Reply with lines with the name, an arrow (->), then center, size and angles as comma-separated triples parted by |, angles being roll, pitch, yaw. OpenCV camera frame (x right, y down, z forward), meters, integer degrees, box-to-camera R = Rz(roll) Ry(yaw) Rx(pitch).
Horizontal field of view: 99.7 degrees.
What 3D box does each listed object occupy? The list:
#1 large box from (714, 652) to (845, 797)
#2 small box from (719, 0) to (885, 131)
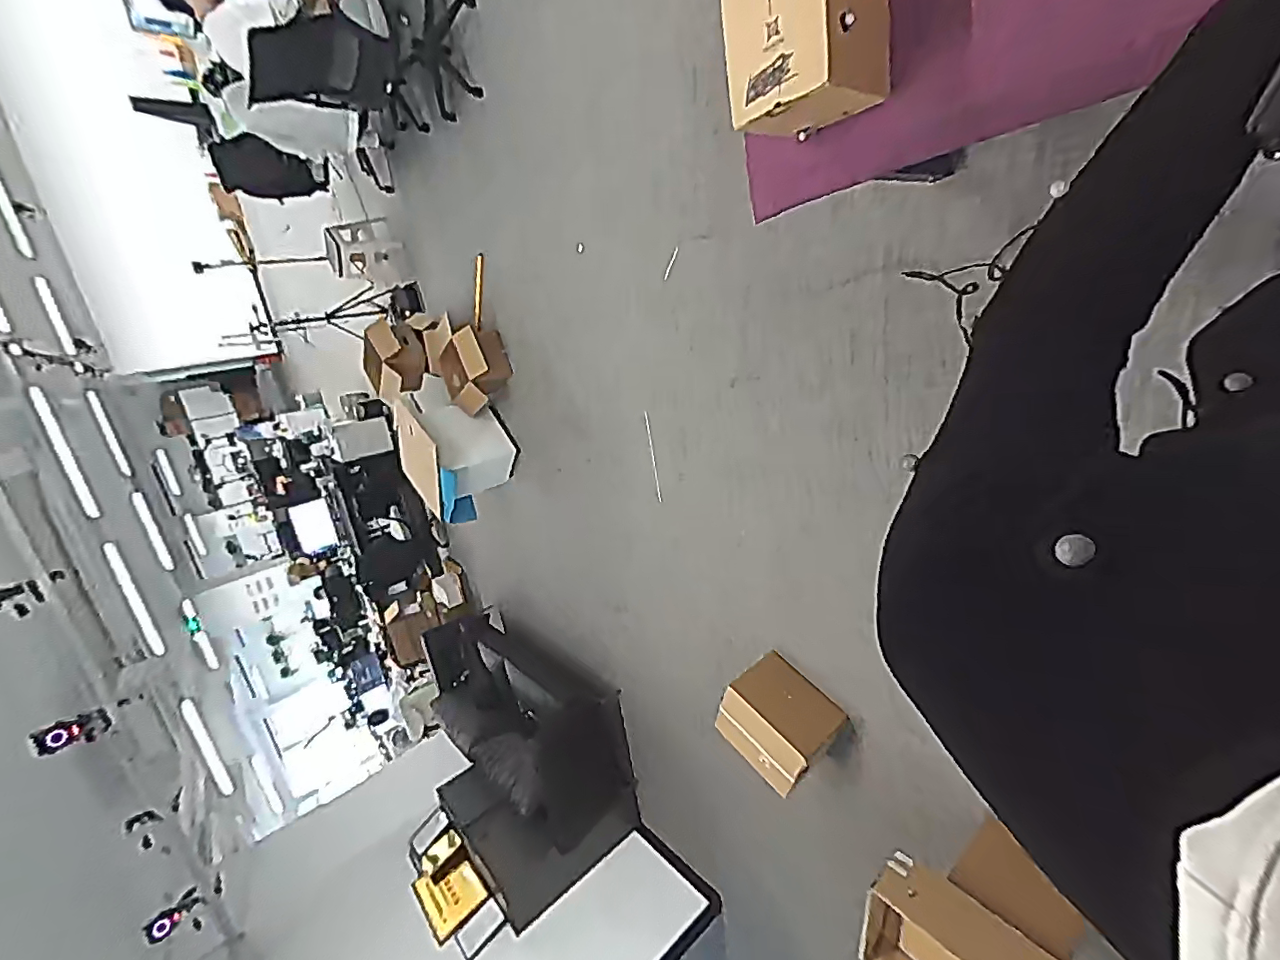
large box -> 0.590, 1.032, 2.324 | 0.408, 0.320, 0.320 | 36, 134, 35
small box -> 0.238, -0.630, 0.784 | 0.168, 0.176, 0.179 | 10, 115, 49
